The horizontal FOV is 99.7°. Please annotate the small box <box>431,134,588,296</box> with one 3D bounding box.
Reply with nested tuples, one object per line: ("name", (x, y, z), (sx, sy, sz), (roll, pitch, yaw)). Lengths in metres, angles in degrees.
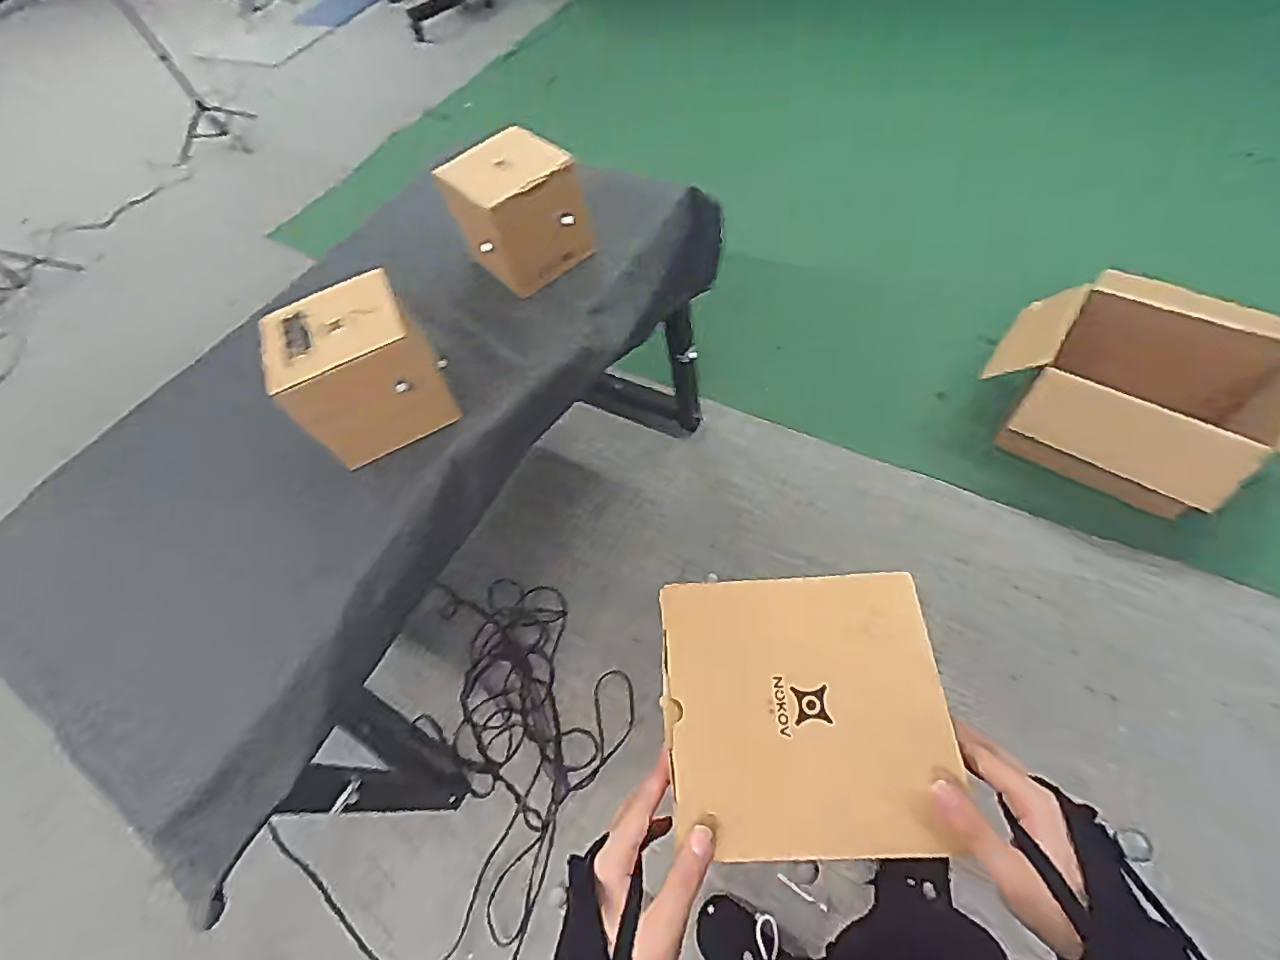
("small box", (-0.211, -0.443, 0.918), (0.168, 0.176, 0.179), (-39, 59, -15))
